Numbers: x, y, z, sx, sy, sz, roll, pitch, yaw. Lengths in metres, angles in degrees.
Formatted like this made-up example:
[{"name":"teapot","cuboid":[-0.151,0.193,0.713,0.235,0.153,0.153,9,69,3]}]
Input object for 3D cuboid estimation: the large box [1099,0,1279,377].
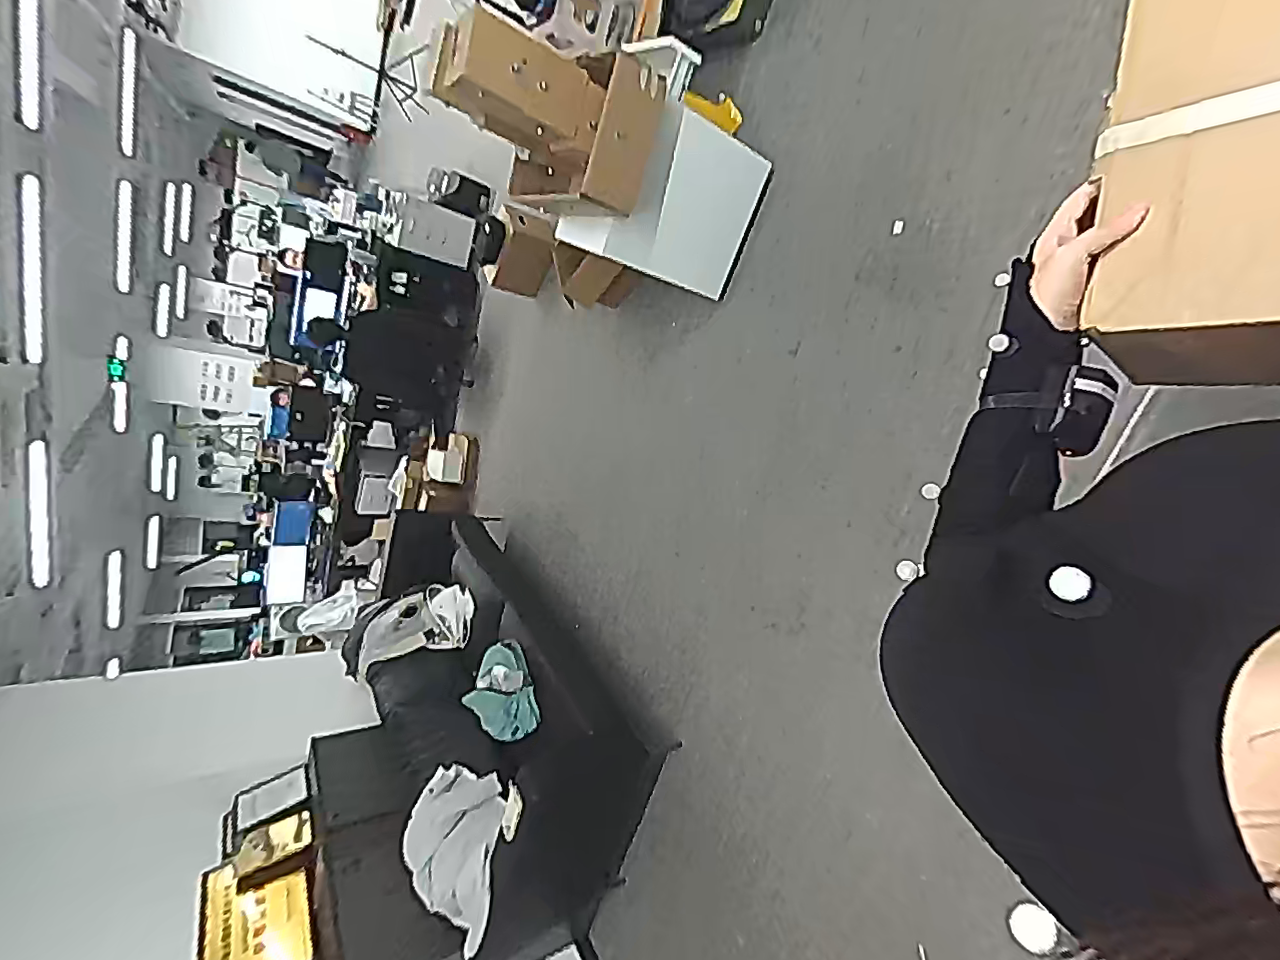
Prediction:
[{"name":"large box","cuboid":[0.635,-0.260,0.397,0.408,0.320,0.320,11,96,47]}]
